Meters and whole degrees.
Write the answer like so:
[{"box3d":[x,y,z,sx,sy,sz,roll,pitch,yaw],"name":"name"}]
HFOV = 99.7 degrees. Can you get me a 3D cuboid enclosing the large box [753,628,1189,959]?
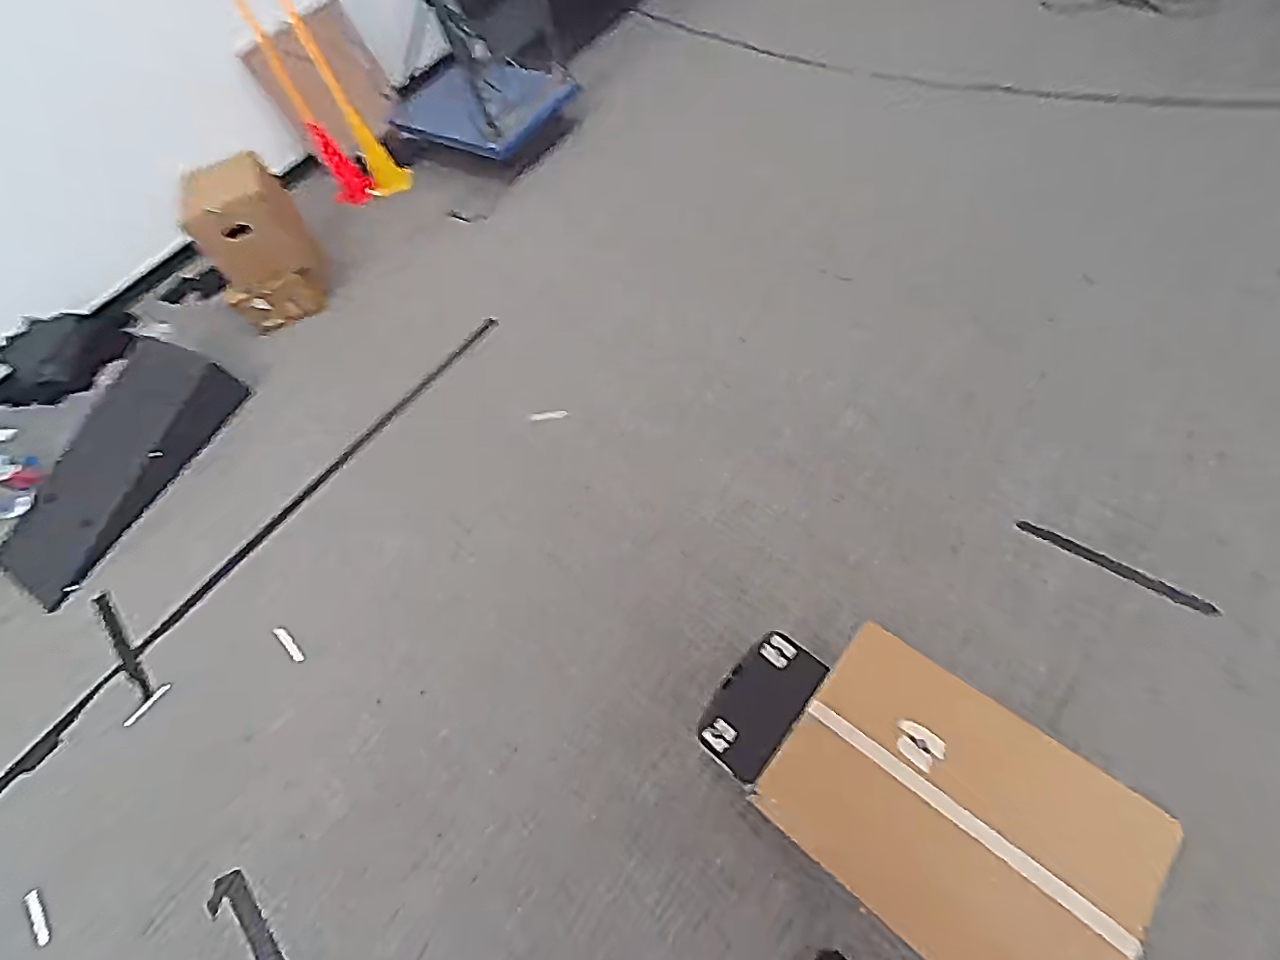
[{"box3d":[0.431,0.495,0.802,0.408,0.320,0.320,33,72,29],"name":"large box"}]
